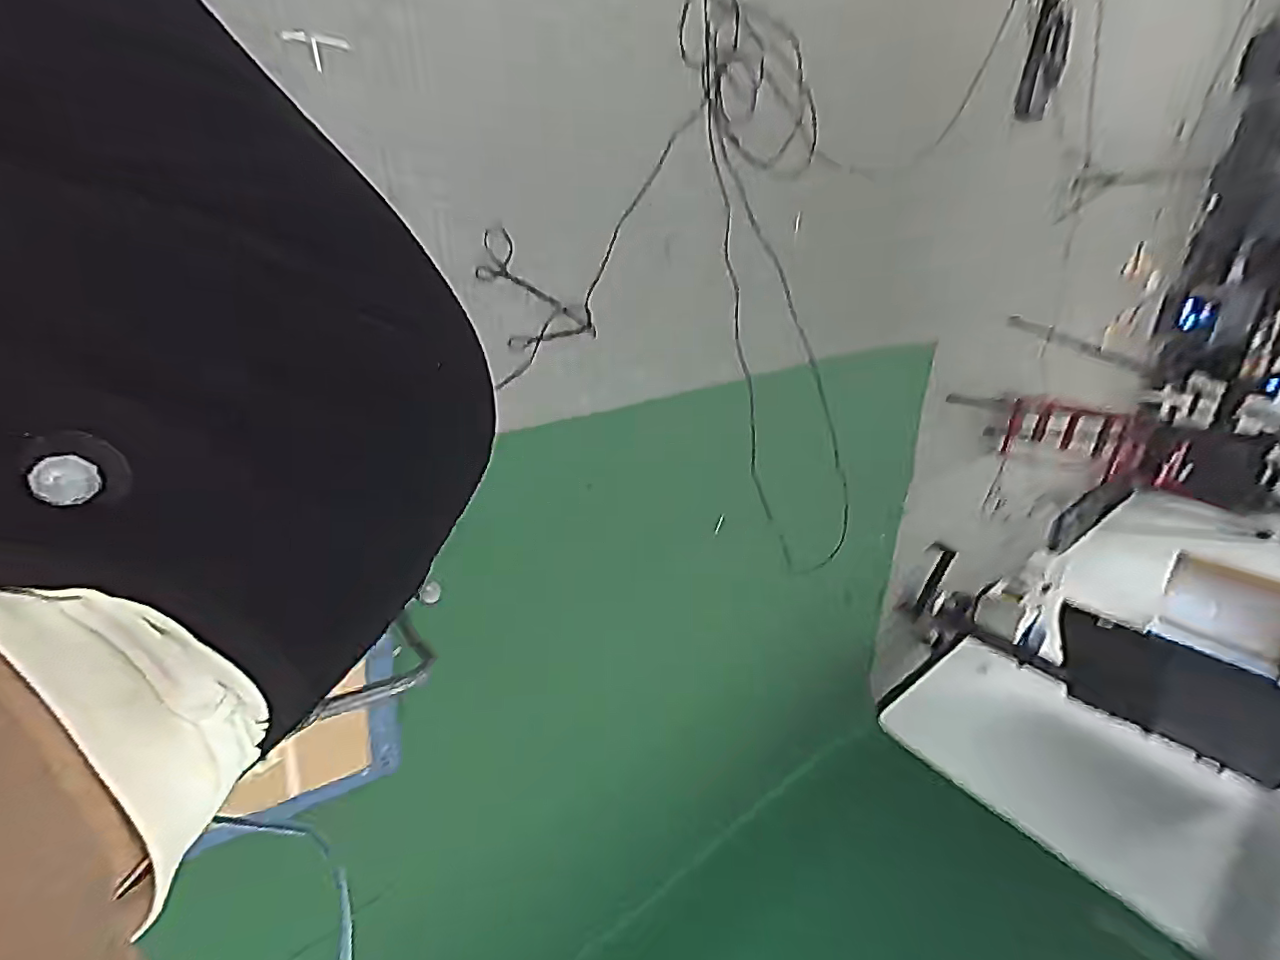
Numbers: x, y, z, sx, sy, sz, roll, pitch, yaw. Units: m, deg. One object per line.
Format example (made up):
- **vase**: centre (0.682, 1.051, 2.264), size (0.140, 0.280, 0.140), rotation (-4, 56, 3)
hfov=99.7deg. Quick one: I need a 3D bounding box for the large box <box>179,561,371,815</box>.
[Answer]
- **large box**: centre (-0.848, 0.457, 1.271), size (0.320, 0.320, 0.408), rotation (-8, 114, -36)
